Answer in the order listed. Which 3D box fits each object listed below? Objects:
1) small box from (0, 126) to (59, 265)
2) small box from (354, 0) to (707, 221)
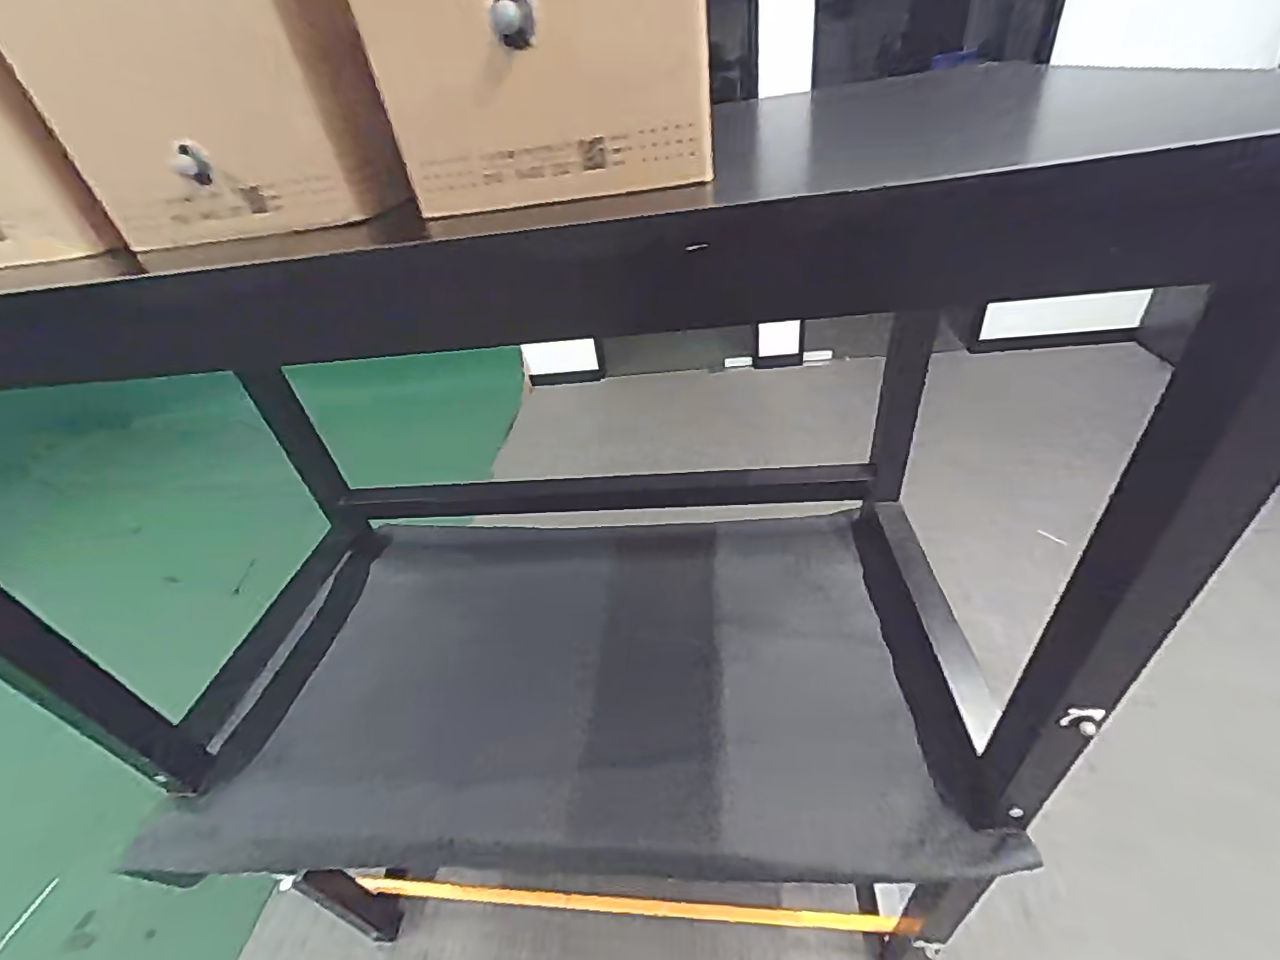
[{"bbox_3d":[-0.644,-0.245,0.430,0.168,0.176,0.179,-3,38,8],"label":"small box"},{"bbox_3d":[-0.047,-0.264,0.323,0.168,0.176,0.179,-3,37,8],"label":"small box"}]
